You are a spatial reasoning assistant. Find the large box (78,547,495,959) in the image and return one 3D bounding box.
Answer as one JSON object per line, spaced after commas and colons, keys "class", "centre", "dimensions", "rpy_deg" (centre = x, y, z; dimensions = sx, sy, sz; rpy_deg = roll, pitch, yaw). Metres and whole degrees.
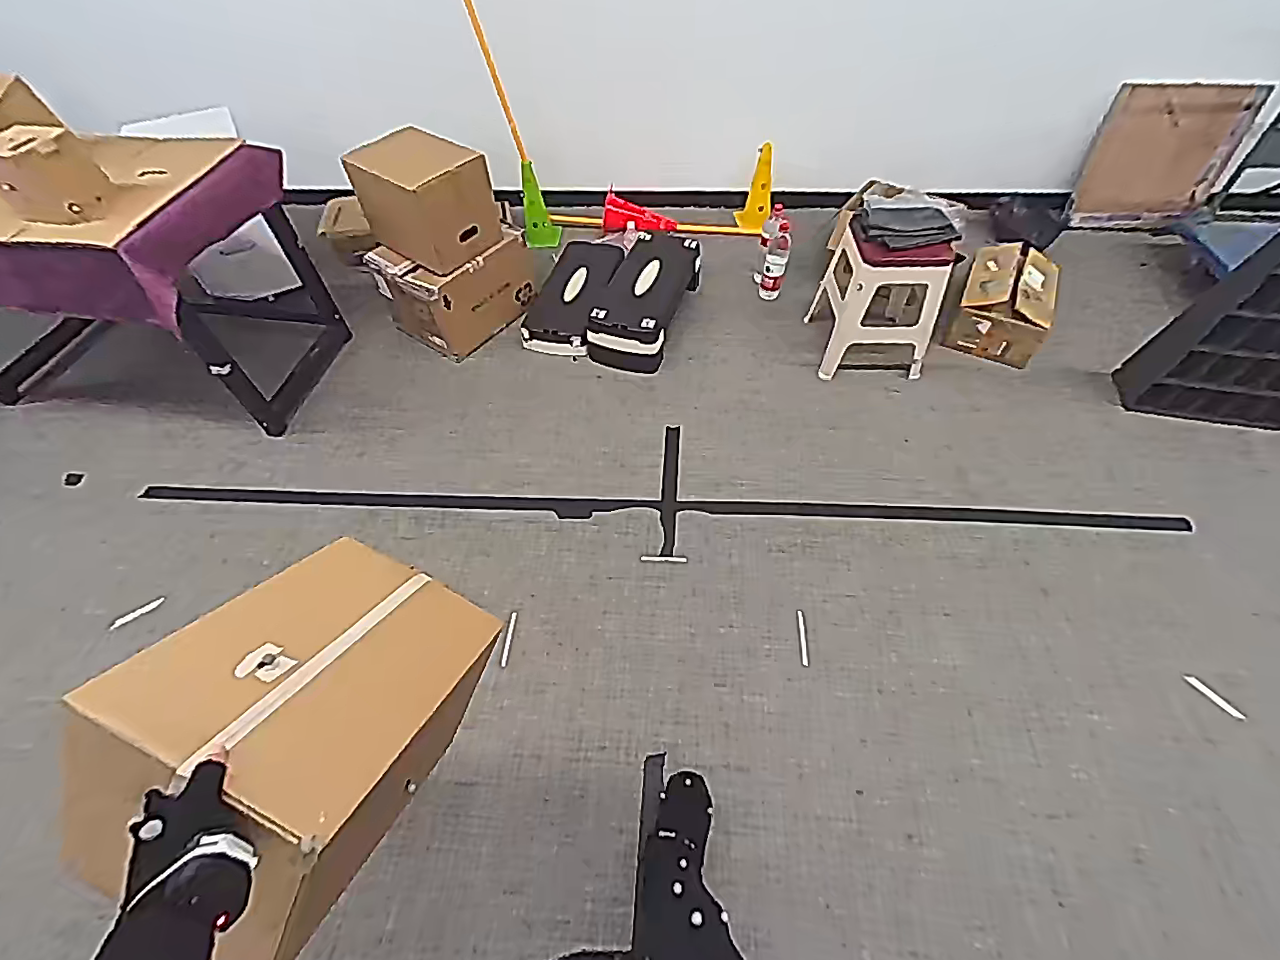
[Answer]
{"class": "large box", "centre": [-0.480, 0.371, 0.802], "dimensions": [0.320, 0.320, 0.408], "rpy_deg": [27, 23, 4]}
